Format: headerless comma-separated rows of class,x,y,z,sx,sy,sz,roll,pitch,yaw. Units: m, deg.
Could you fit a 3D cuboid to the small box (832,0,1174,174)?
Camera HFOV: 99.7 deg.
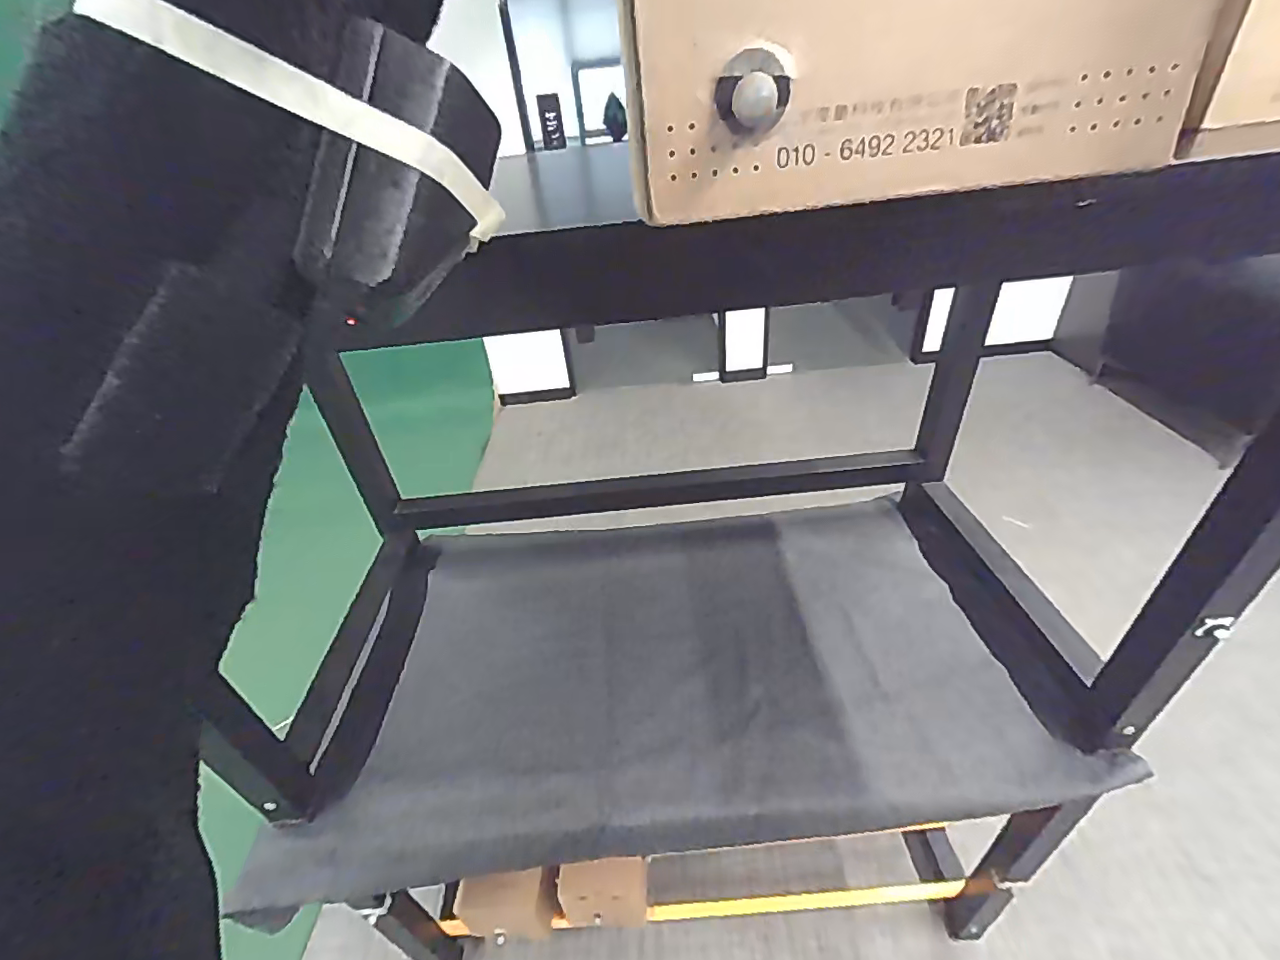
small box,0.262,-0.344,0.421,0.168,0.176,0.179,-6,35,1
